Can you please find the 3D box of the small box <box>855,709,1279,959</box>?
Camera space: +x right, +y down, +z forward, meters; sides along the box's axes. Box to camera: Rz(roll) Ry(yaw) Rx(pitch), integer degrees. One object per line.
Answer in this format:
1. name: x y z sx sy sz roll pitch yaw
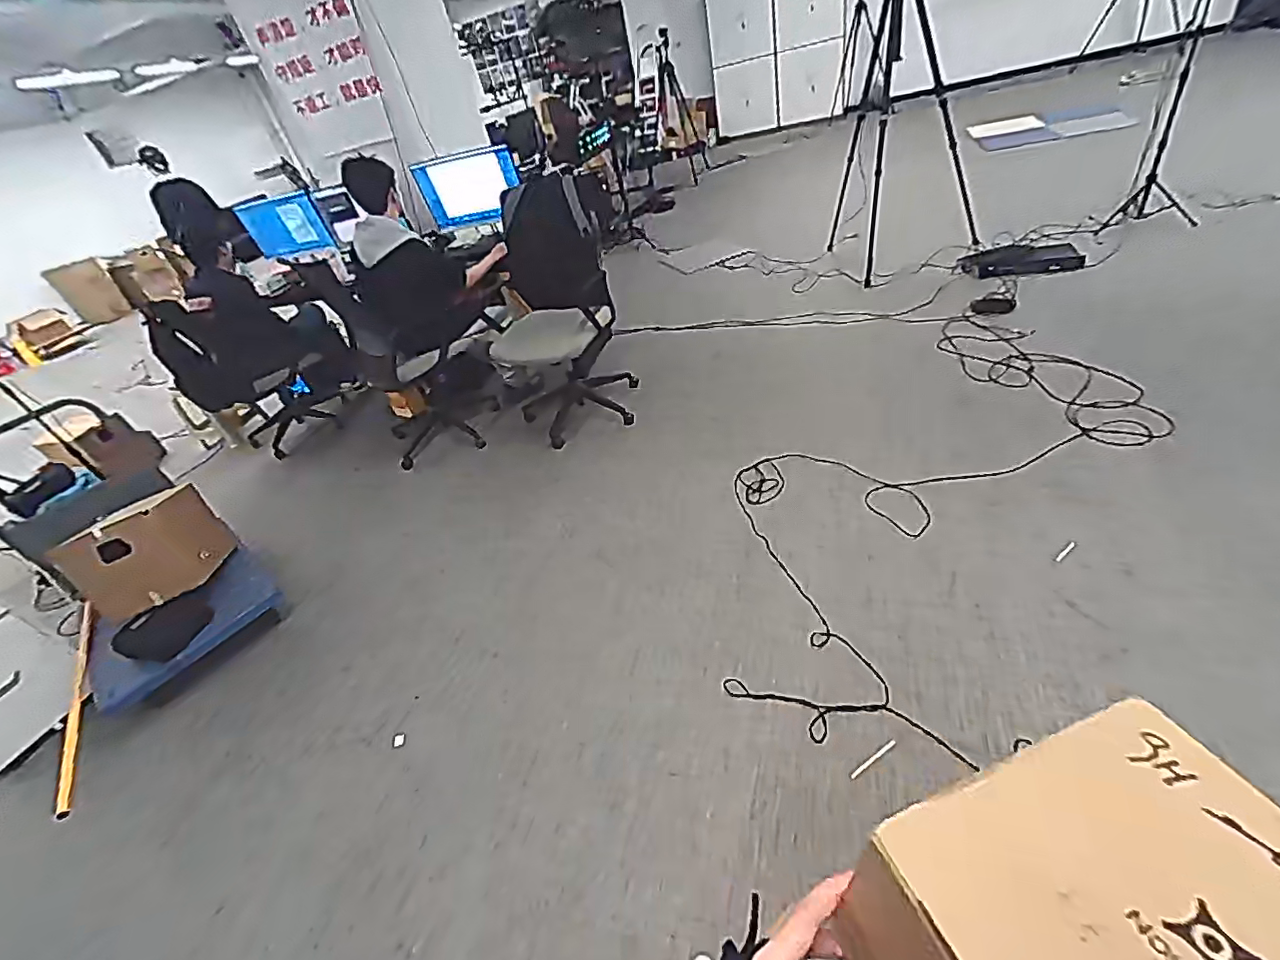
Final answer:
1. small box: 0.228 0.258 0.269 0.179 0.176 0.168 -17 38 -12
